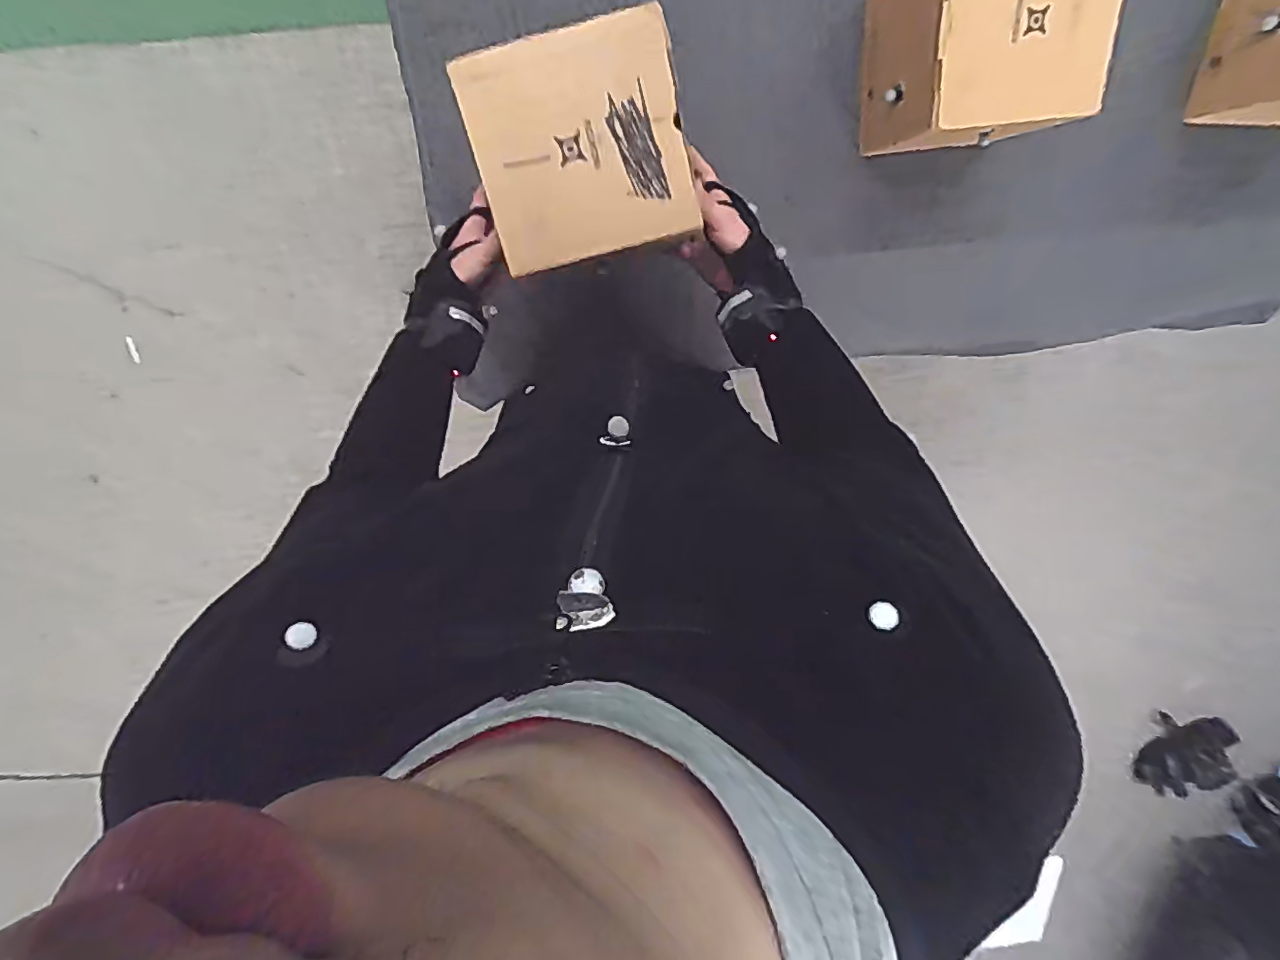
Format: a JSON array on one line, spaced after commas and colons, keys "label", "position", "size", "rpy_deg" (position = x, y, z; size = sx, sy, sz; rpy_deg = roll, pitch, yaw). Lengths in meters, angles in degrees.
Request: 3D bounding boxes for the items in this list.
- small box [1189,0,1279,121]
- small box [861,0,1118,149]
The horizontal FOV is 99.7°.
[{"label": "small box", "position": [0.795, -0.514, 0.603], "size": [0.179, 0.176, 0.168], "rpy_deg": [-2, 114, -4]}, {"label": "small box", "position": [0.360, -0.470, 0.583], "size": [0.179, 0.176, 0.168], "rpy_deg": [-8, 115, -3]}]
